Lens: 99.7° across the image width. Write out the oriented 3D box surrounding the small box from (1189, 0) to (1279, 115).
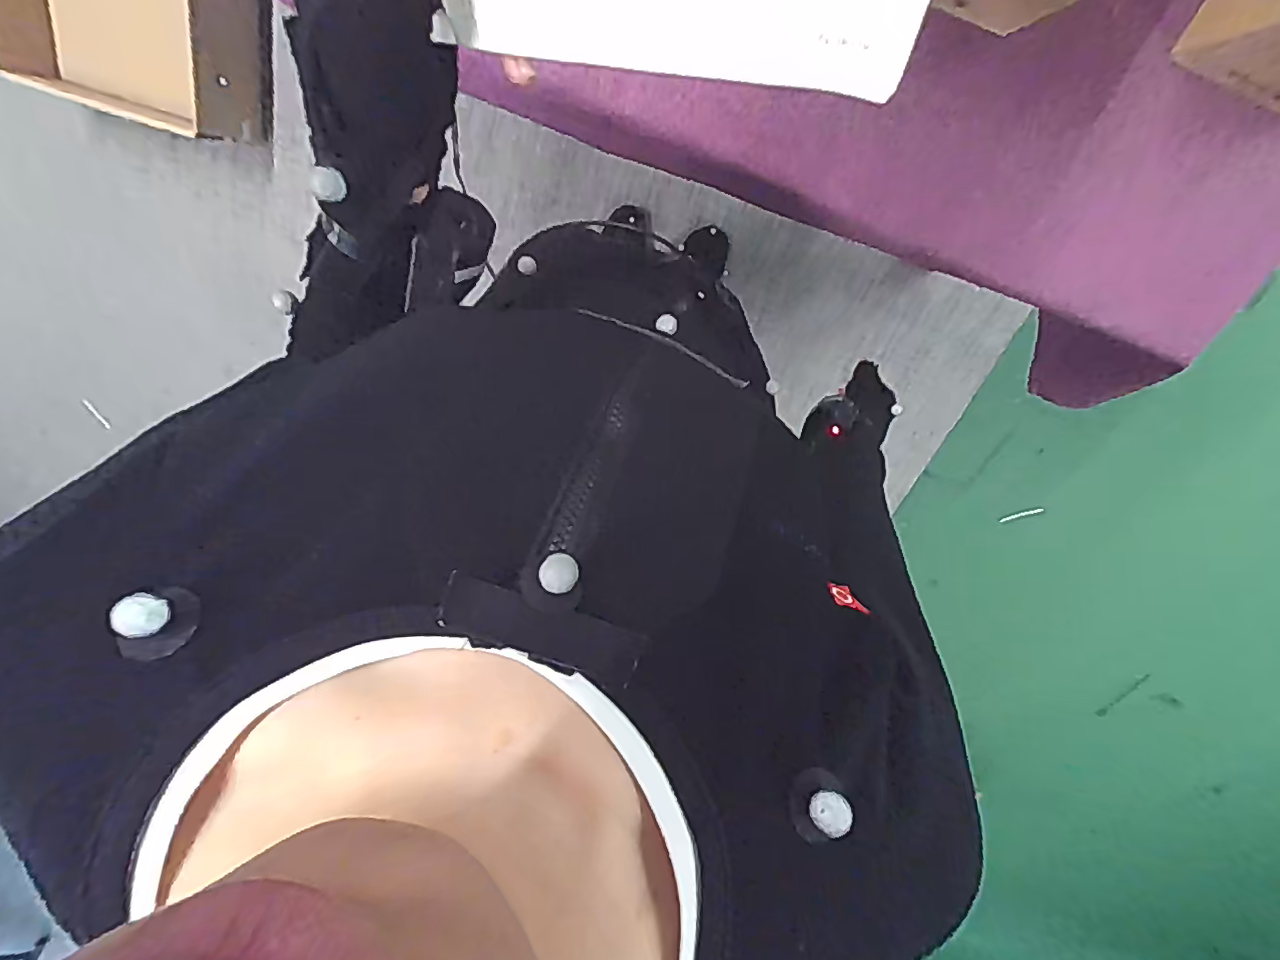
[{"bbox_3d":[0.606,-0.414,0.422,0.168,0.176,0.179,19,117,-7],"label":"small box"}]
